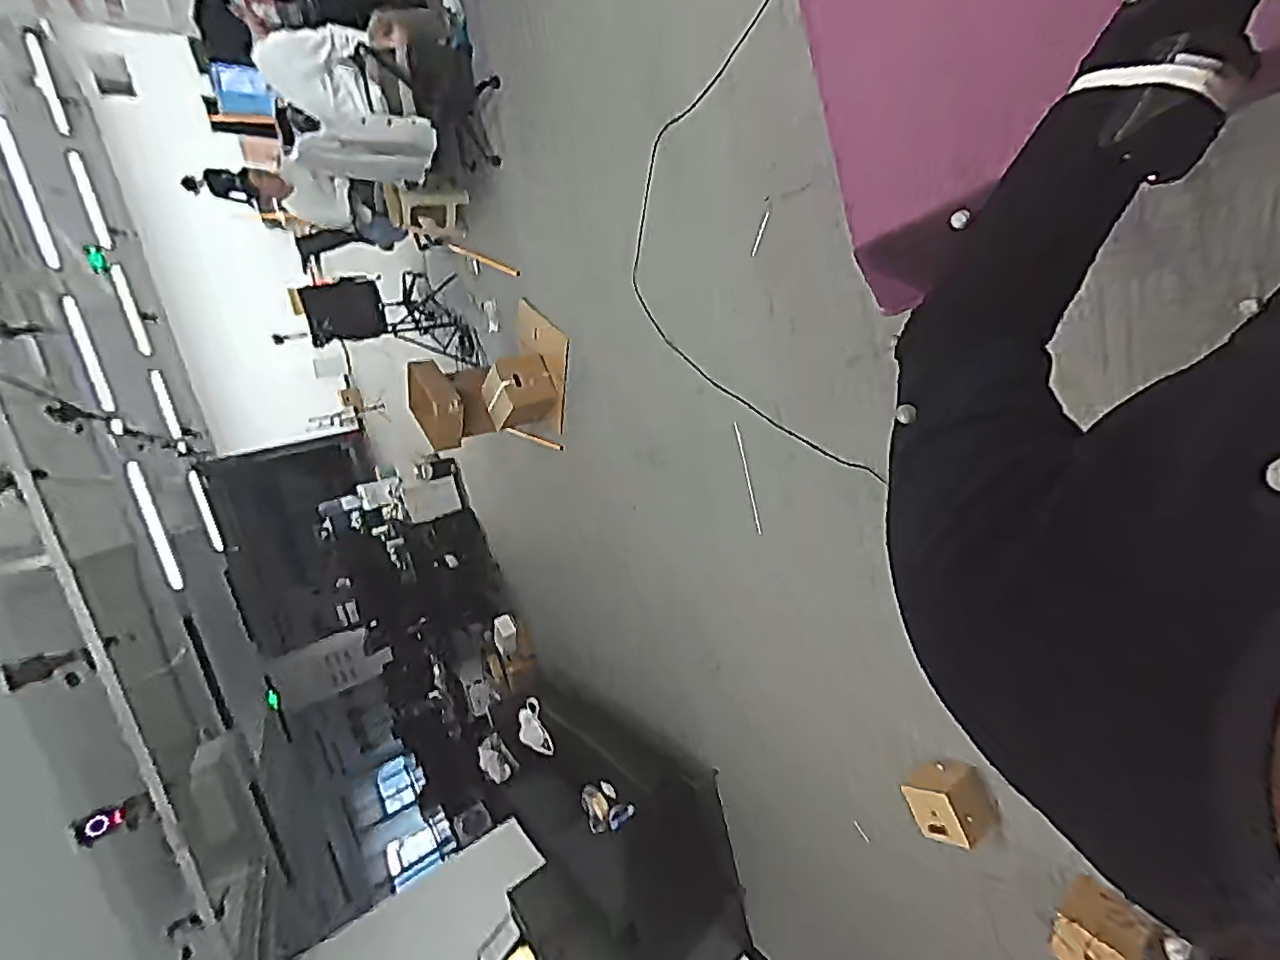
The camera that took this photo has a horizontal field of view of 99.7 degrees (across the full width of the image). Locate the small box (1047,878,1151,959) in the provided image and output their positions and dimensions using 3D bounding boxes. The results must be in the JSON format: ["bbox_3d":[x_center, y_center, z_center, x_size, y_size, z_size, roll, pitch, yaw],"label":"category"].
[{"bbox_3d":[1.251,1.255,1.473,0.168,0.176,0.179,20,122,51],"label":"small box"}]

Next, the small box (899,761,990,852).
[{"bbox_3d":[0.995,1.055,1.760,0.168,0.176,0.179,-35,76,57],"label":"small box"}]
